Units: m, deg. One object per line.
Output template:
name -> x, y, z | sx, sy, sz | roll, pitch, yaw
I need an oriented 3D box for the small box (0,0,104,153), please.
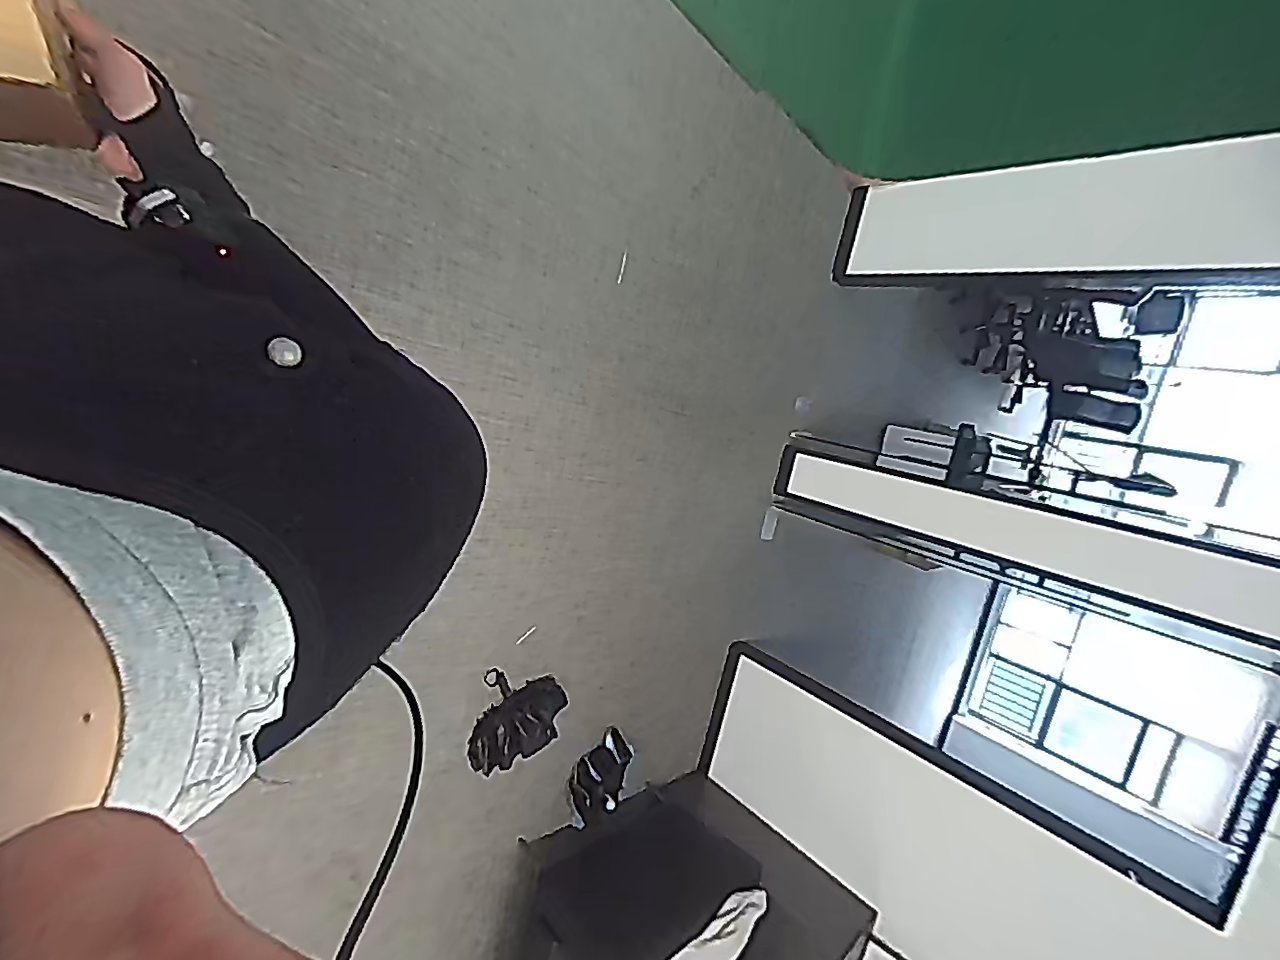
small box -> -0.478, -0.318, 0.327 | 0.179, 0.176, 0.168 | -14, 111, -35
